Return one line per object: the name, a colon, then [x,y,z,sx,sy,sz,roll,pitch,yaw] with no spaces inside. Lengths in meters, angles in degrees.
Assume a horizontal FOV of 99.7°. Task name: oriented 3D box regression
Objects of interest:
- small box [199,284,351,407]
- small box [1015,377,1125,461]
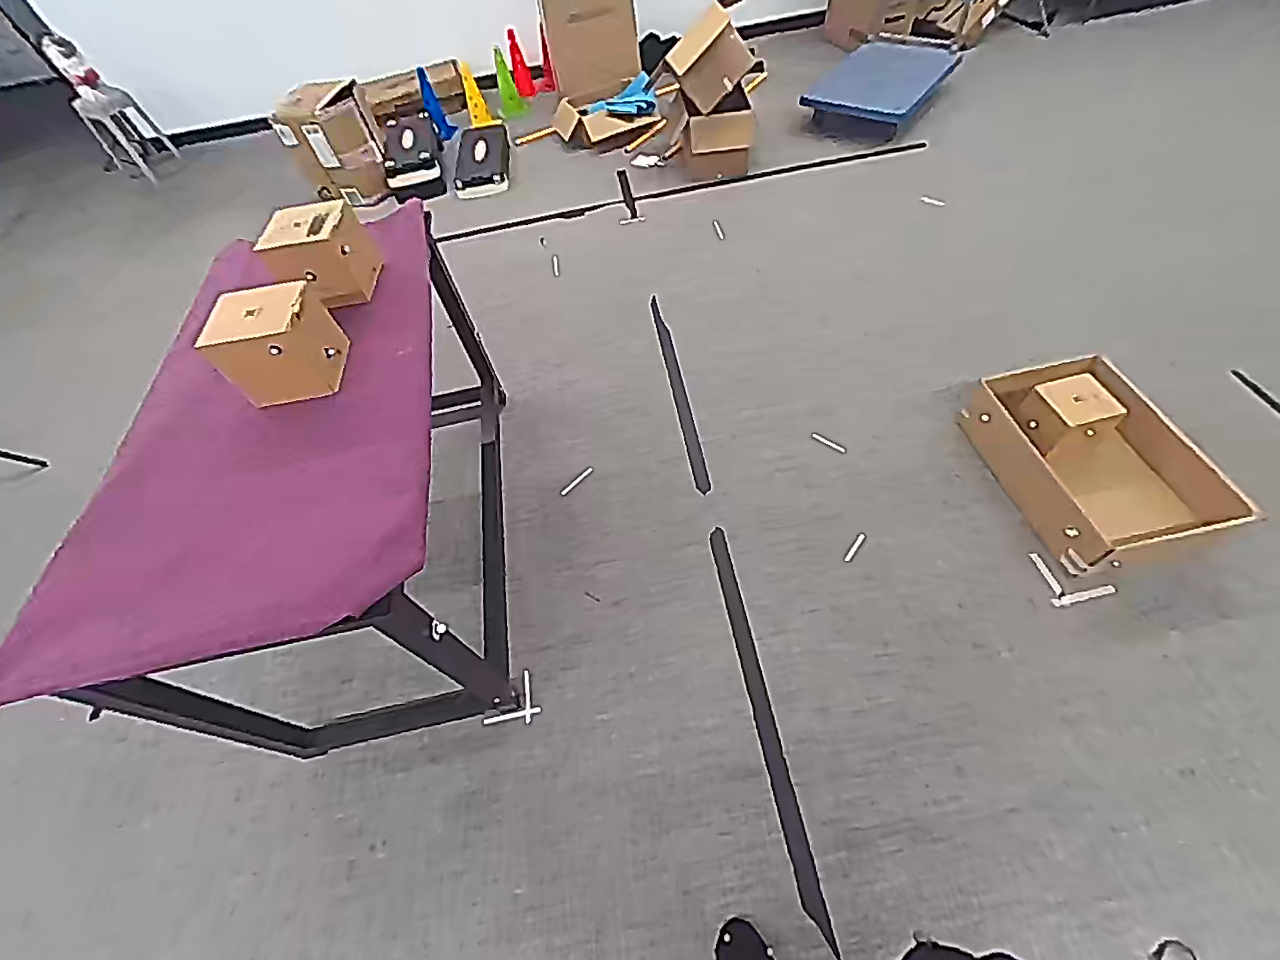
small box: [-0.734,-0.270,1.109,0.179,0.176,0.168,-10,55,0]
small box: [1.272,-0.178,1.623,0.179,0.176,0.168,-13,56,-2]
